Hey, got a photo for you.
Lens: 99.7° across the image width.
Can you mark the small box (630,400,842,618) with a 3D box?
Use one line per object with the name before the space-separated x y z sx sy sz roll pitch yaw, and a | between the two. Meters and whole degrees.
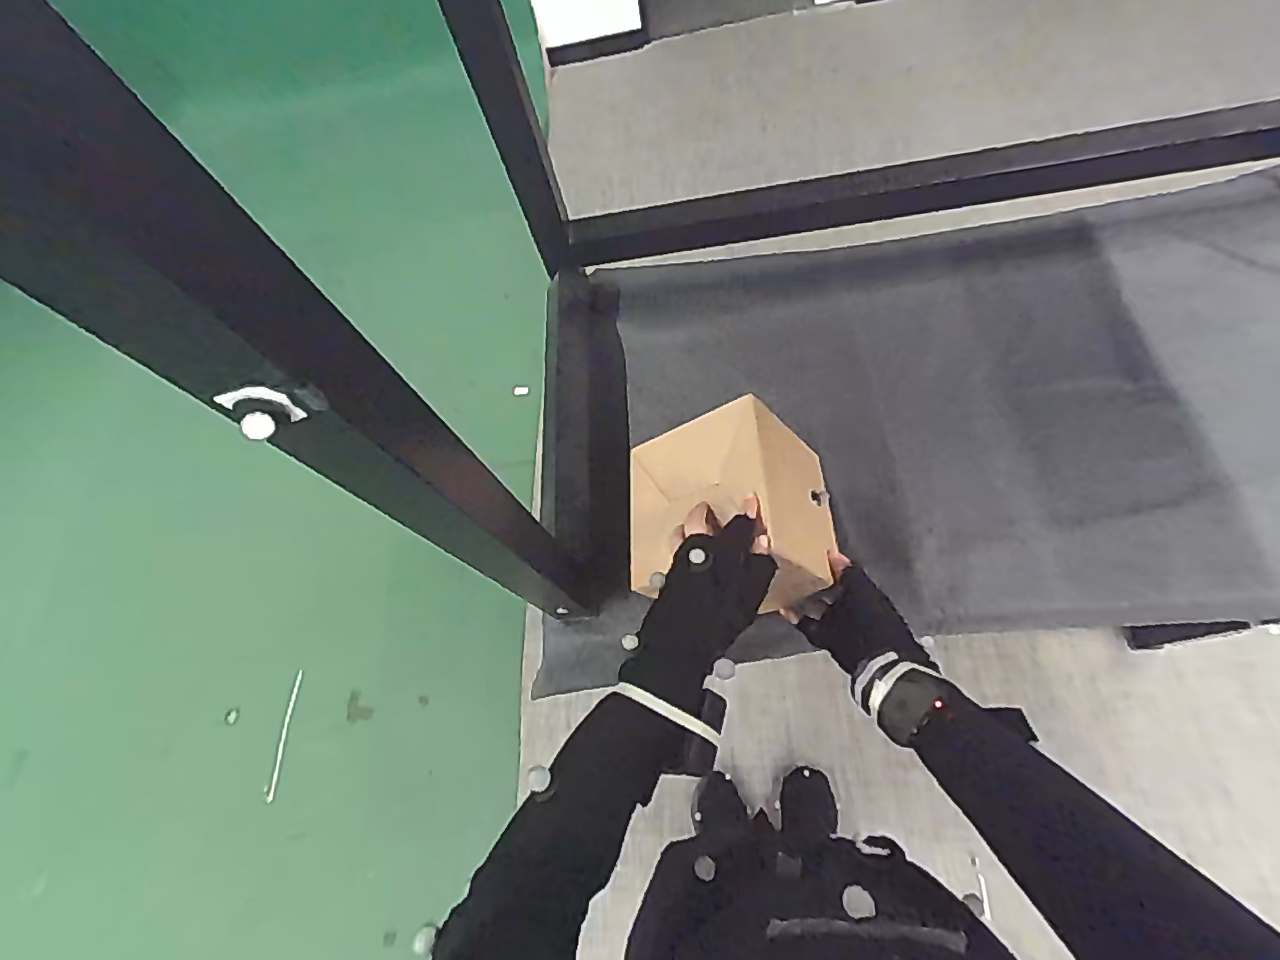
small box | 0.101 0.039 0.609 0.168 0.176 0.179 -24 53 34
